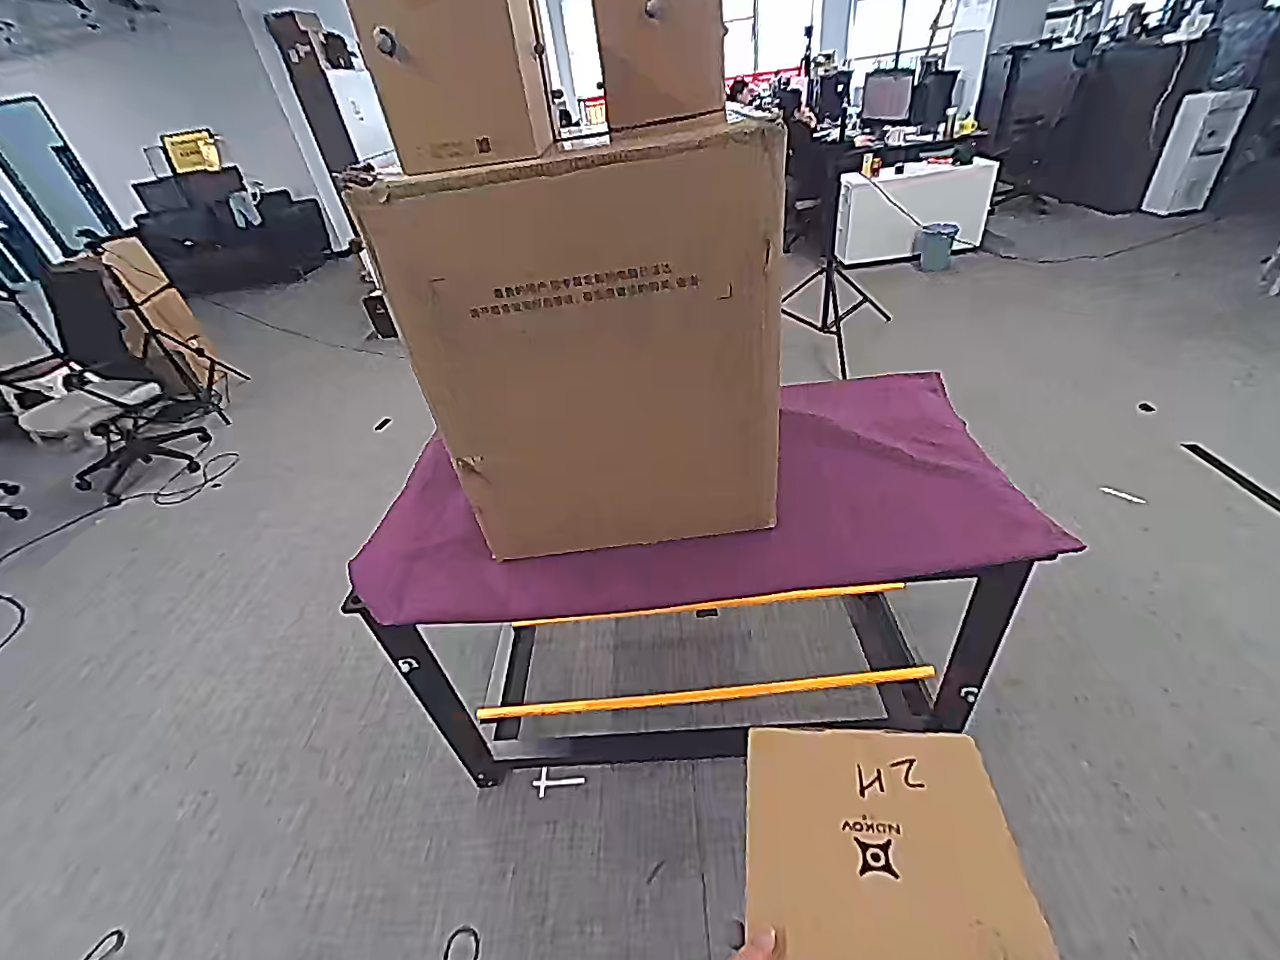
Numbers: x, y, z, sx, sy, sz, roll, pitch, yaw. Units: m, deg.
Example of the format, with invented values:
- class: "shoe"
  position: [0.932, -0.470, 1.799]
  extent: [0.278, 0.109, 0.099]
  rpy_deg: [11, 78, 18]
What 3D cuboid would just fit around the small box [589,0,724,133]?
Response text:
- class: "small box"
  position: [0.027, -0.631, 0.796]
  extent: [0.179, 0.176, 0.168]
  rpy_deg: [-9, 37, 3]
